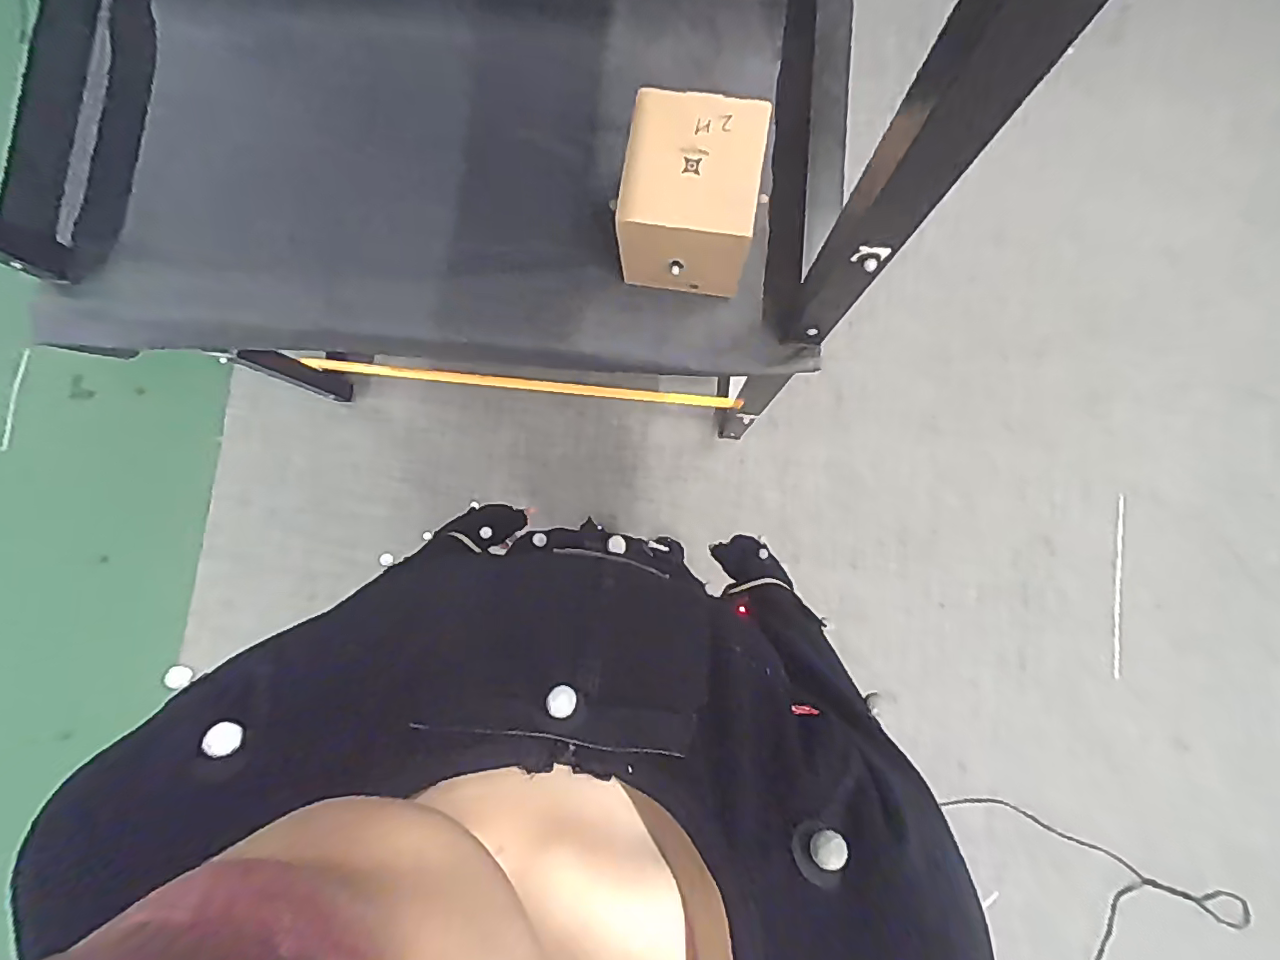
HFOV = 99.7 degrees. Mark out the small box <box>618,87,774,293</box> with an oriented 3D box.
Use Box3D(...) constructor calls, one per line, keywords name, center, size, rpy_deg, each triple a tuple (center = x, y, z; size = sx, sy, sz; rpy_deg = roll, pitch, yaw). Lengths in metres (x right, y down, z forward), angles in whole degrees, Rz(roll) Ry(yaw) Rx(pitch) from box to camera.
Box3D(name="small box", center=(0.071, -0.374, 0.726), size=(0.168, 0.176, 0.179), rpy_deg=(9, 85, 3))
